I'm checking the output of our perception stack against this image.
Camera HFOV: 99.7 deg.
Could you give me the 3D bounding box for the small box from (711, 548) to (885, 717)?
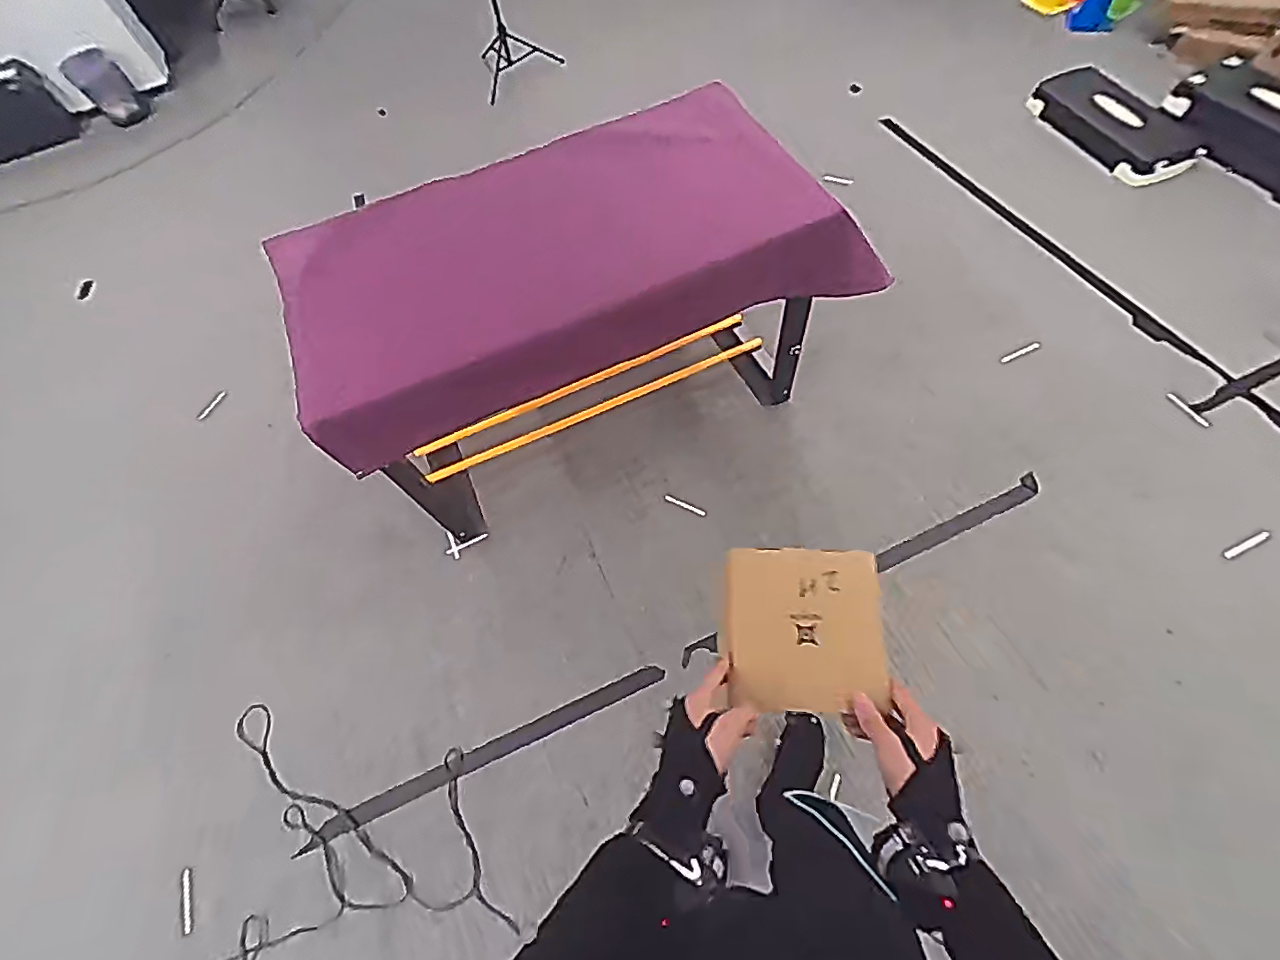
[{"bbox_3d":[0.177,0.188,0.660,0.168,0.176,0.179,0,69,2],"label":"small box"}]
